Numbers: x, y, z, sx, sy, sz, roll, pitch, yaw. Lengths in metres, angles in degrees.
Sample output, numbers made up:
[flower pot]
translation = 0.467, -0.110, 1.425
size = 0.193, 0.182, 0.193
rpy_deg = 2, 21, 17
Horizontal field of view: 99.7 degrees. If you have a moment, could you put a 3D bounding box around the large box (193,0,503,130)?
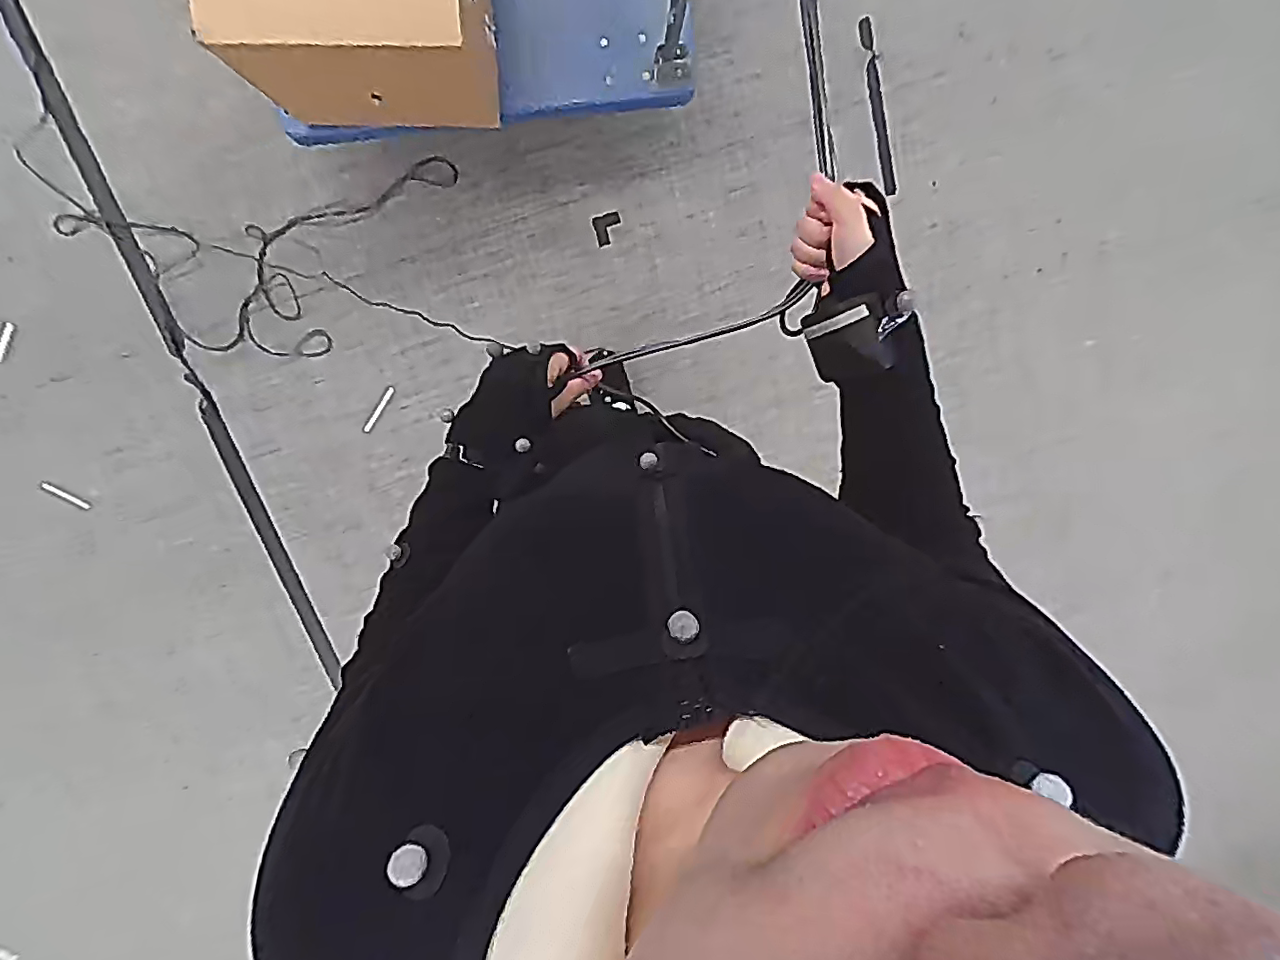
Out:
[large box]
translation = -0.481, -0.843, 0.944
size = 0.408, 0.320, 0.320
rpy_deg = -2, 102, -2
